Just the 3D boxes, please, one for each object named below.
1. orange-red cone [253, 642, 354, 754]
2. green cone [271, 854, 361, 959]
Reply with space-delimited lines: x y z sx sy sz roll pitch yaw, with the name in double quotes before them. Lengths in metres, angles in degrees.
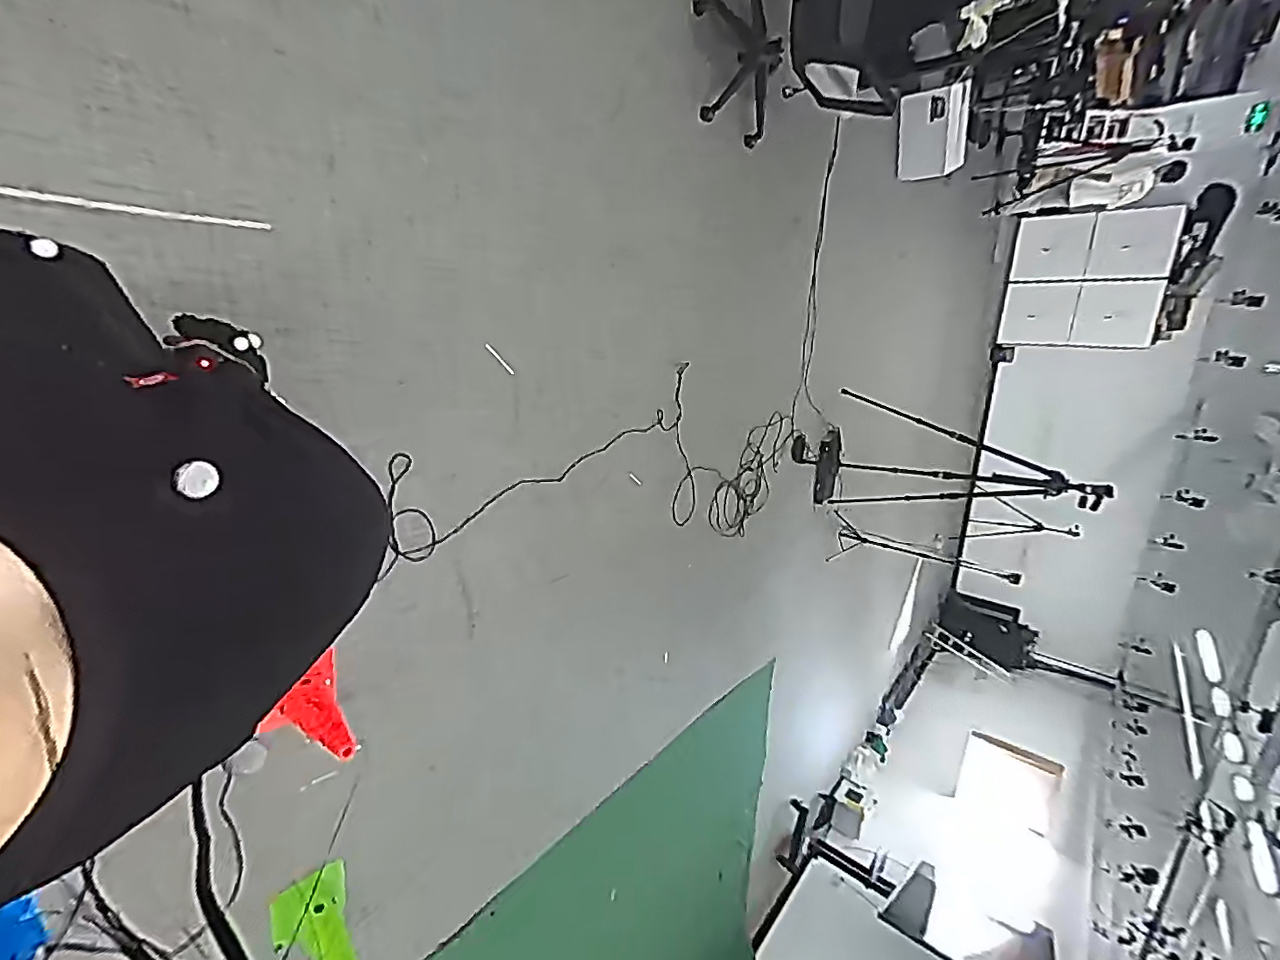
"orange-red cone" -0.823 0.594 1.385 0.198 0.360 0.199 -8 109 -48
"green cone" -0.873 1.307 1.542 0.200 0.368 0.202 -12 110 -49
